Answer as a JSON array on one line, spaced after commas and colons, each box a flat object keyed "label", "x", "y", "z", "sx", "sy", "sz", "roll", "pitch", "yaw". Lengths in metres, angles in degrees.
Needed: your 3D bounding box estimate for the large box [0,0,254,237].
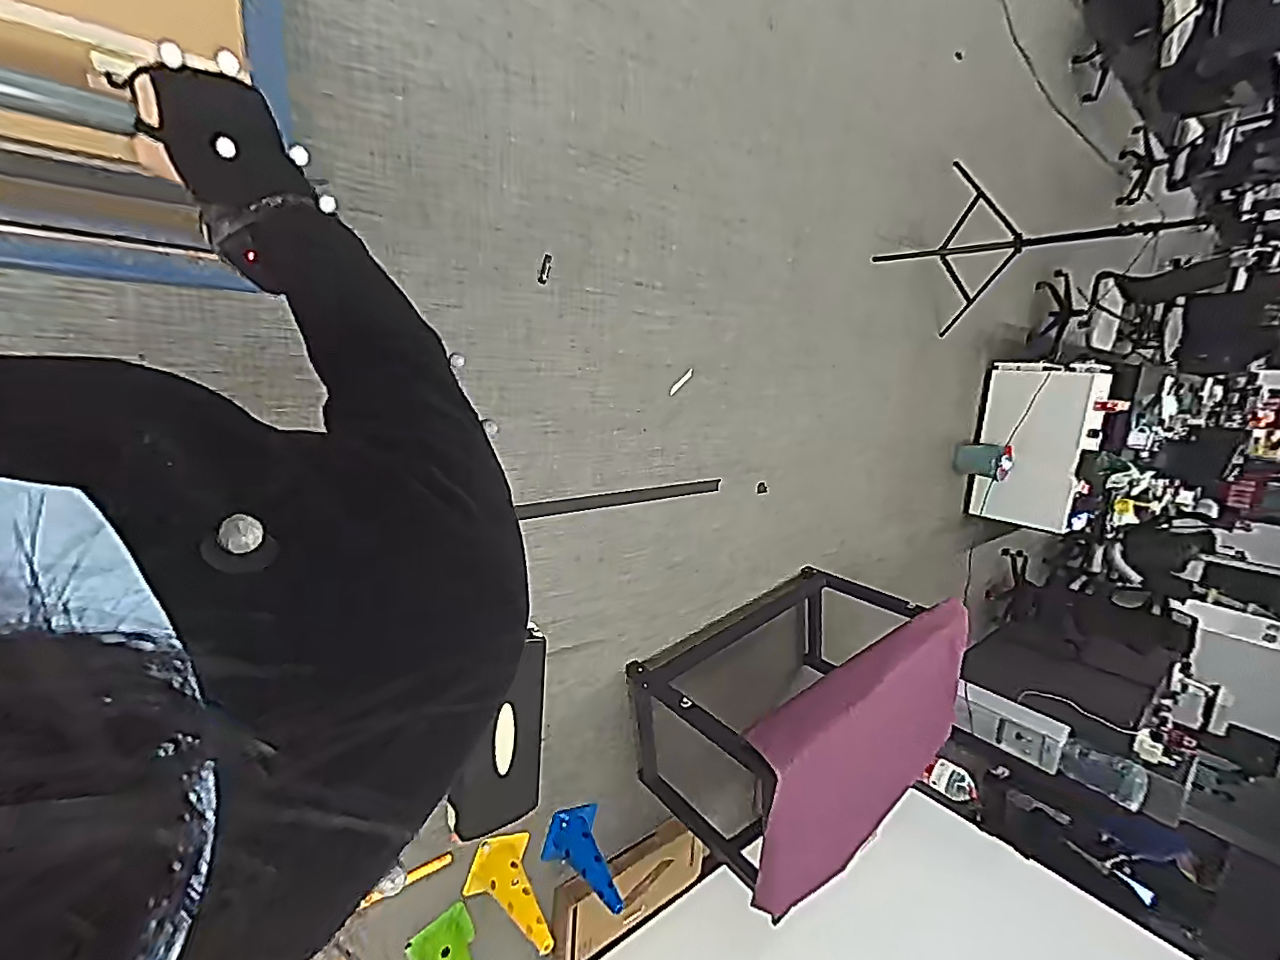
[{"label": "large box", "x": -0.803, "y": -0.557, "z": 0.743, "sx": 0.408, "sy": 0.320, "sz": 0.320, "roll": -6, "pitch": 104, "yaw": -39}]
